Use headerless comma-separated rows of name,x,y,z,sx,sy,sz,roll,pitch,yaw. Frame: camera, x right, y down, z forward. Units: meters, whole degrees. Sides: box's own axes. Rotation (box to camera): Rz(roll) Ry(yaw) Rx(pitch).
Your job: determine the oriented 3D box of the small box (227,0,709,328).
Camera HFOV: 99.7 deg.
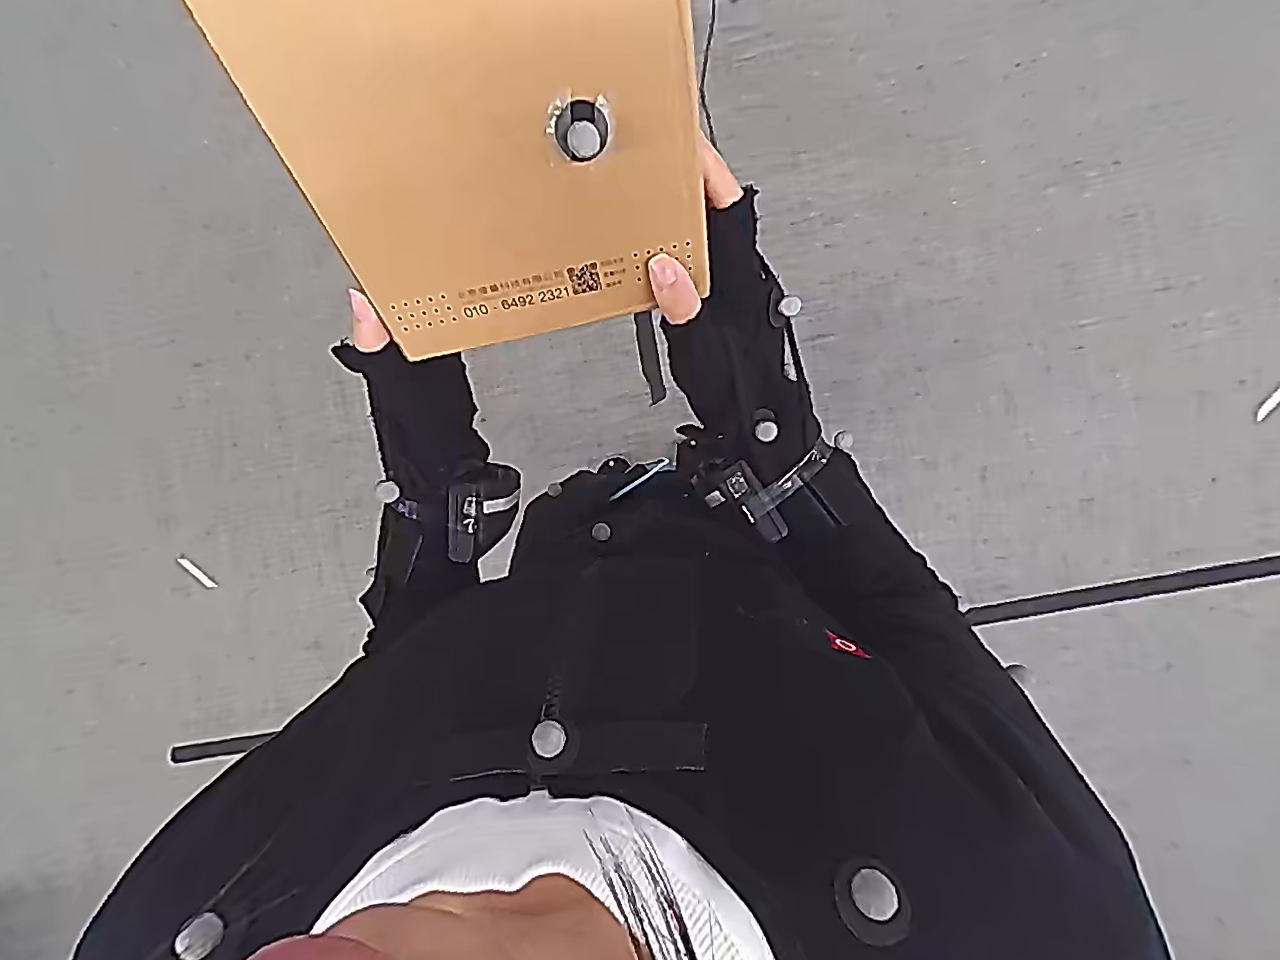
small box,-0.060,-0.200,0.292,0.168,0.176,0.179,-10,51,3
